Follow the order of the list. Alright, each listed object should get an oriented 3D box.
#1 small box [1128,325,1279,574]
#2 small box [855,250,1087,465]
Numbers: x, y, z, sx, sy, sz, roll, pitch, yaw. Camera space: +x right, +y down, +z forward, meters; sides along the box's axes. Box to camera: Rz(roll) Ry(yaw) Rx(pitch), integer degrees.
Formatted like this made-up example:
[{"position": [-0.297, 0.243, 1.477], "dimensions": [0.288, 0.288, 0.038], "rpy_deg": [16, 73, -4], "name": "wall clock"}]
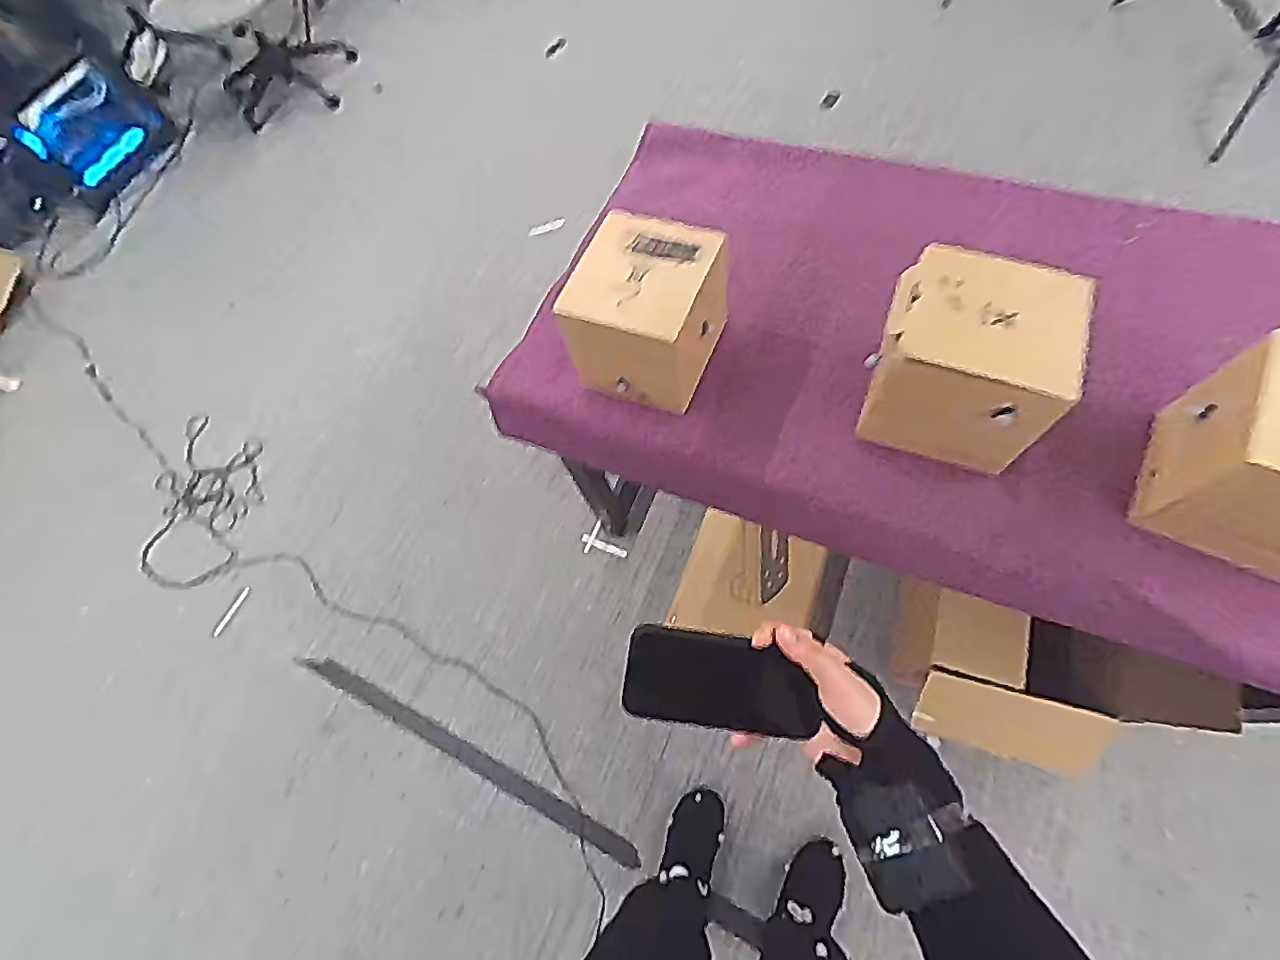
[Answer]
[{"position": [0.663, -0.021, 0.554], "dimensions": [0.179, 0.176, 0.168], "rpy_deg": [25, 72, 18], "name": "small box"}, {"position": [0.381, -0.137, 0.646], "dimensions": [0.179, 0.176, 0.168], "rpy_deg": [18, 67, 16], "name": "small box"}]
